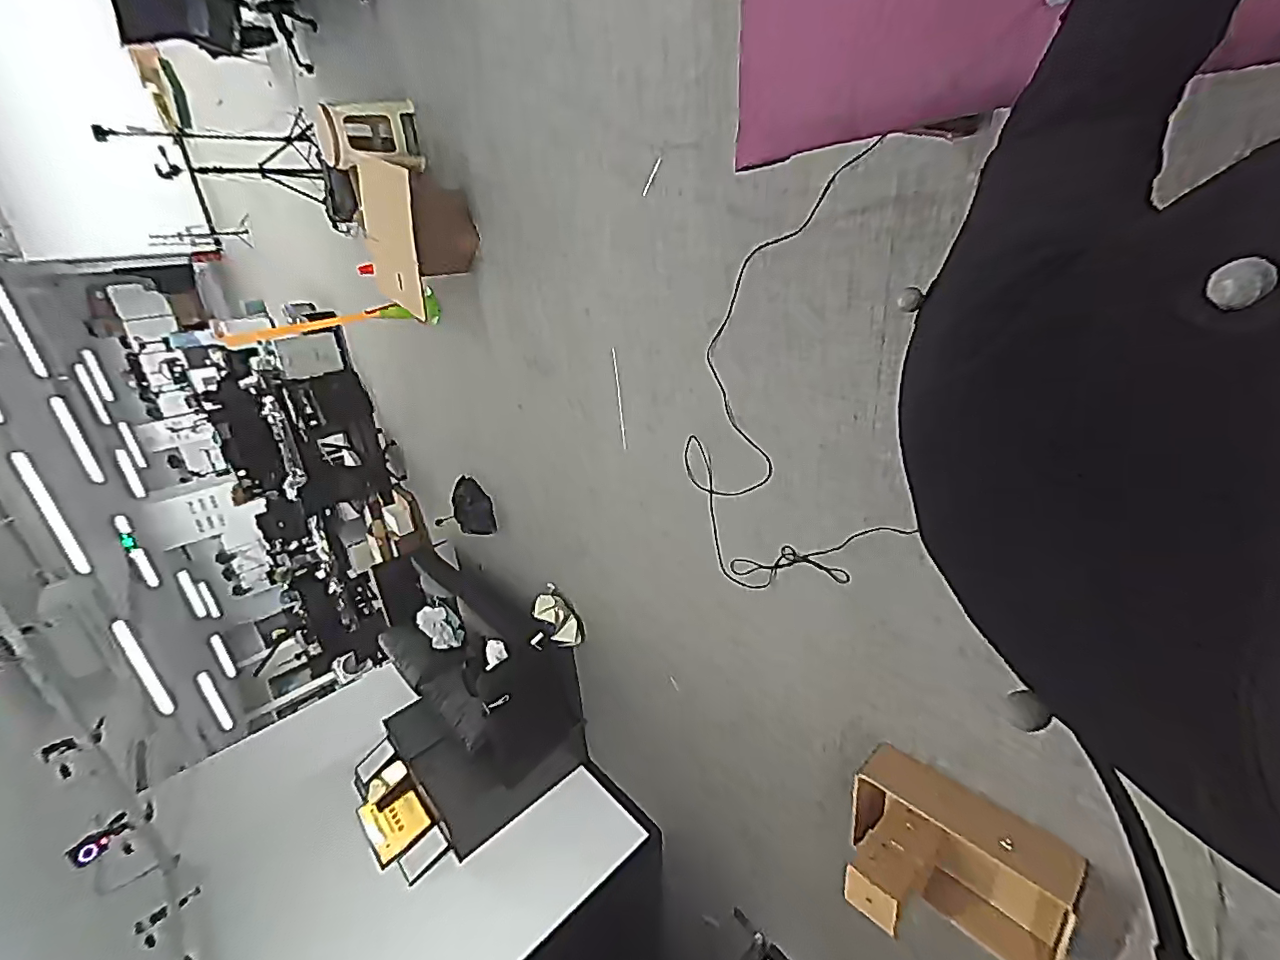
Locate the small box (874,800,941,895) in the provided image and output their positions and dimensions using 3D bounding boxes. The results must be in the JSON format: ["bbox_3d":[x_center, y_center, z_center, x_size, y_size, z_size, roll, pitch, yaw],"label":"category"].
[{"bbox_3d":[0.923,1.257,1.866,0.168,0.176,0.179,11,119,45],"label":"small box"}]

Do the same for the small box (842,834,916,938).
[{"bbox_3d":[0.782,1.316,1.766,0.168,0.176,0.179,18,123,44],"label":"small box"}]
